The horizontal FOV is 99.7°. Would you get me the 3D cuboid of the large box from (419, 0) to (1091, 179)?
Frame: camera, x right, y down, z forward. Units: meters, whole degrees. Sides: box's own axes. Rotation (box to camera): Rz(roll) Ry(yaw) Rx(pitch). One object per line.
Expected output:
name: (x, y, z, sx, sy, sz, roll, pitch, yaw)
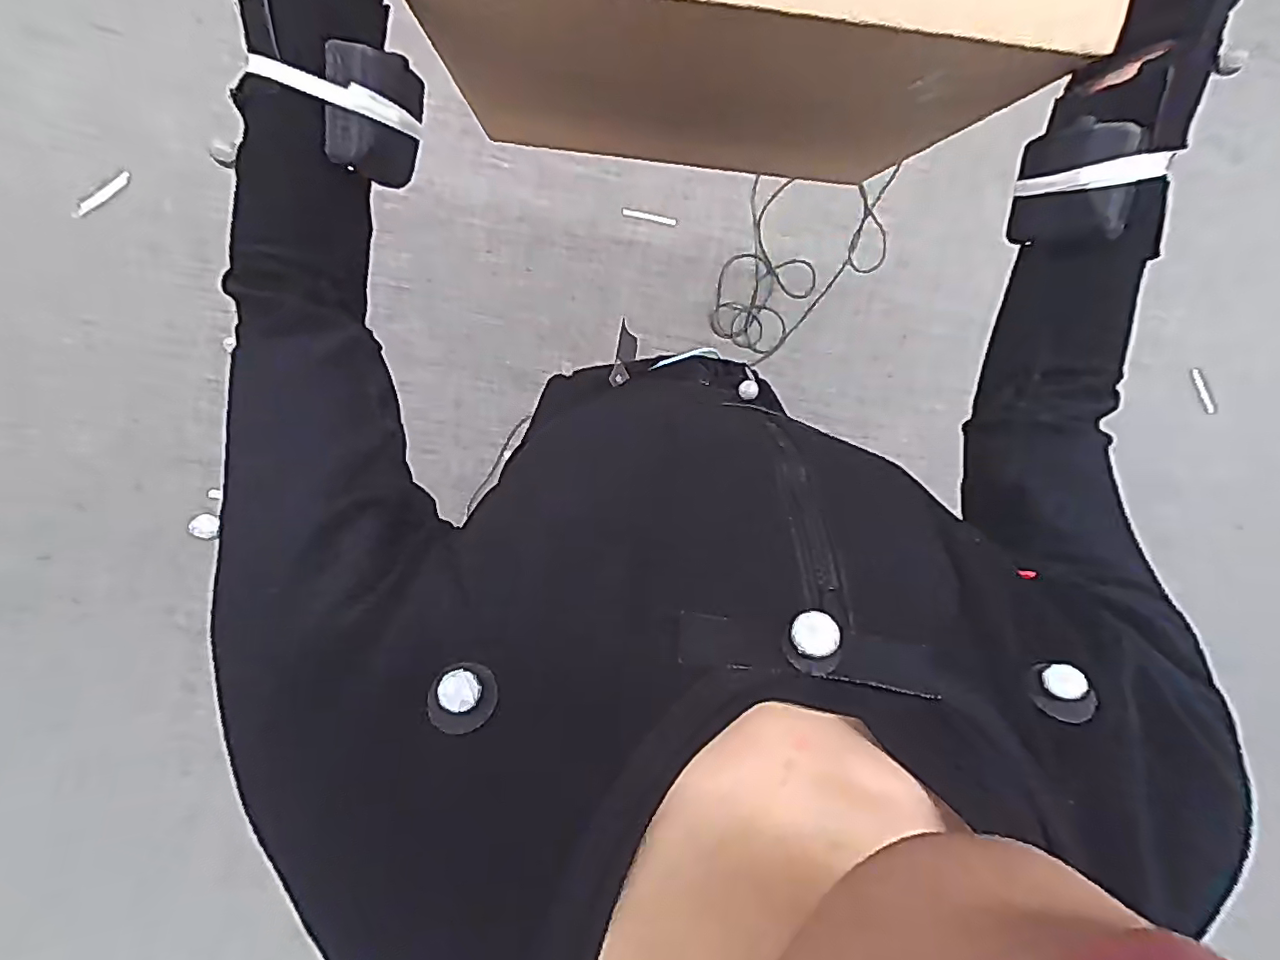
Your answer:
large box: (0.062, -0.448, 0.405, 0.408, 0.320, 0.320, 3, 107, -6)
